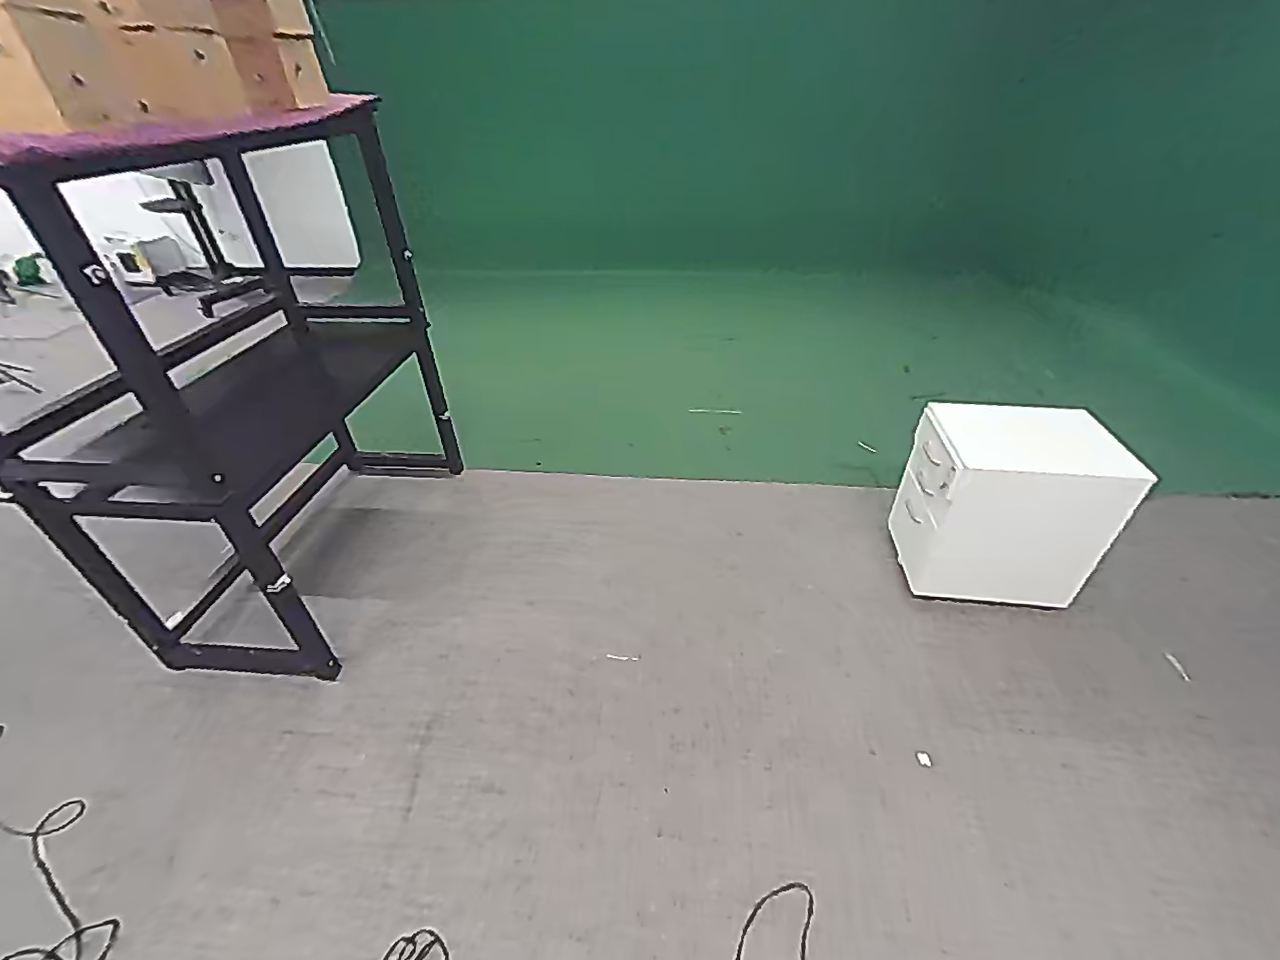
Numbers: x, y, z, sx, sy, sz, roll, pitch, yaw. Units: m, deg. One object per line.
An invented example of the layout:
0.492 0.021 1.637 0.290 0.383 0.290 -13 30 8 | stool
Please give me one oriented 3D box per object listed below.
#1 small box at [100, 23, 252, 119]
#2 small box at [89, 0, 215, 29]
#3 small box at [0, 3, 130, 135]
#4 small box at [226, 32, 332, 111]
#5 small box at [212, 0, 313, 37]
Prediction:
-1.053 -0.938 1.249 0.168 0.176 0.179 4 36 6 | small box
-1.056 -1.065 1.148 0.168 0.176 0.179 9 39 14 | small box
-1.052 -0.701 0.929 0.179 0.176 0.168 -4 36 -5 | small box
-1.026 -1.168 1.550 0.168 0.176 0.179 1 39 7 | small box
-1.022 -1.297 1.449 0.168 0.176 0.179 1 38 7 | small box
